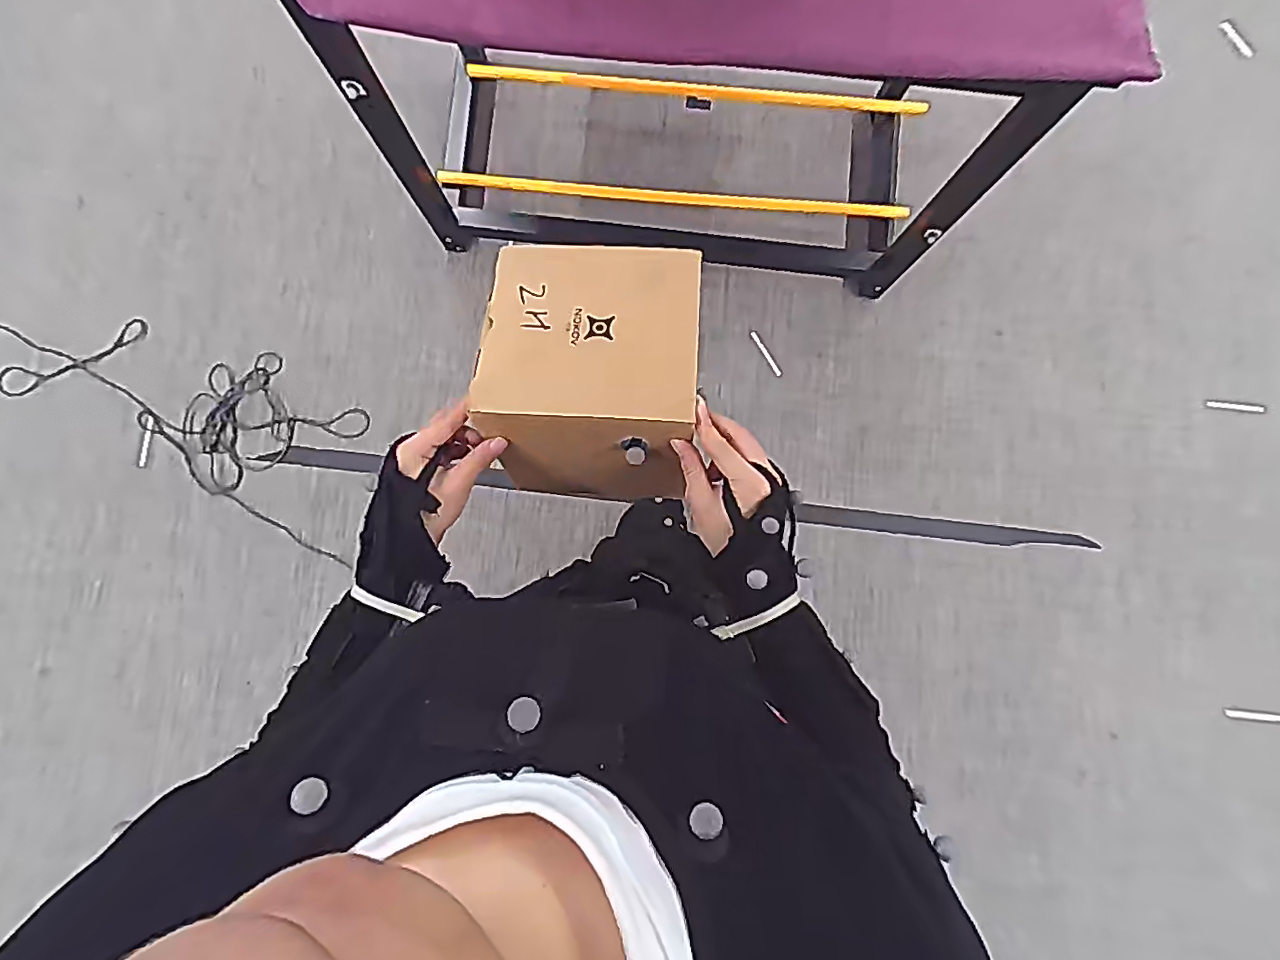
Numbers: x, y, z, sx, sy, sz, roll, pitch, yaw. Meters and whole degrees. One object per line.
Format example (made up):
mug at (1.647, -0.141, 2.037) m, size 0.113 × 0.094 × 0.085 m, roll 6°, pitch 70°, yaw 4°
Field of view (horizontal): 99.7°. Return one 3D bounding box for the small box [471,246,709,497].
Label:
small box at (-0.032, -0.090, 0.504) m, size 0.179 × 0.176 × 0.168 m, roll 3°, pitch 68°, yaw 4°
